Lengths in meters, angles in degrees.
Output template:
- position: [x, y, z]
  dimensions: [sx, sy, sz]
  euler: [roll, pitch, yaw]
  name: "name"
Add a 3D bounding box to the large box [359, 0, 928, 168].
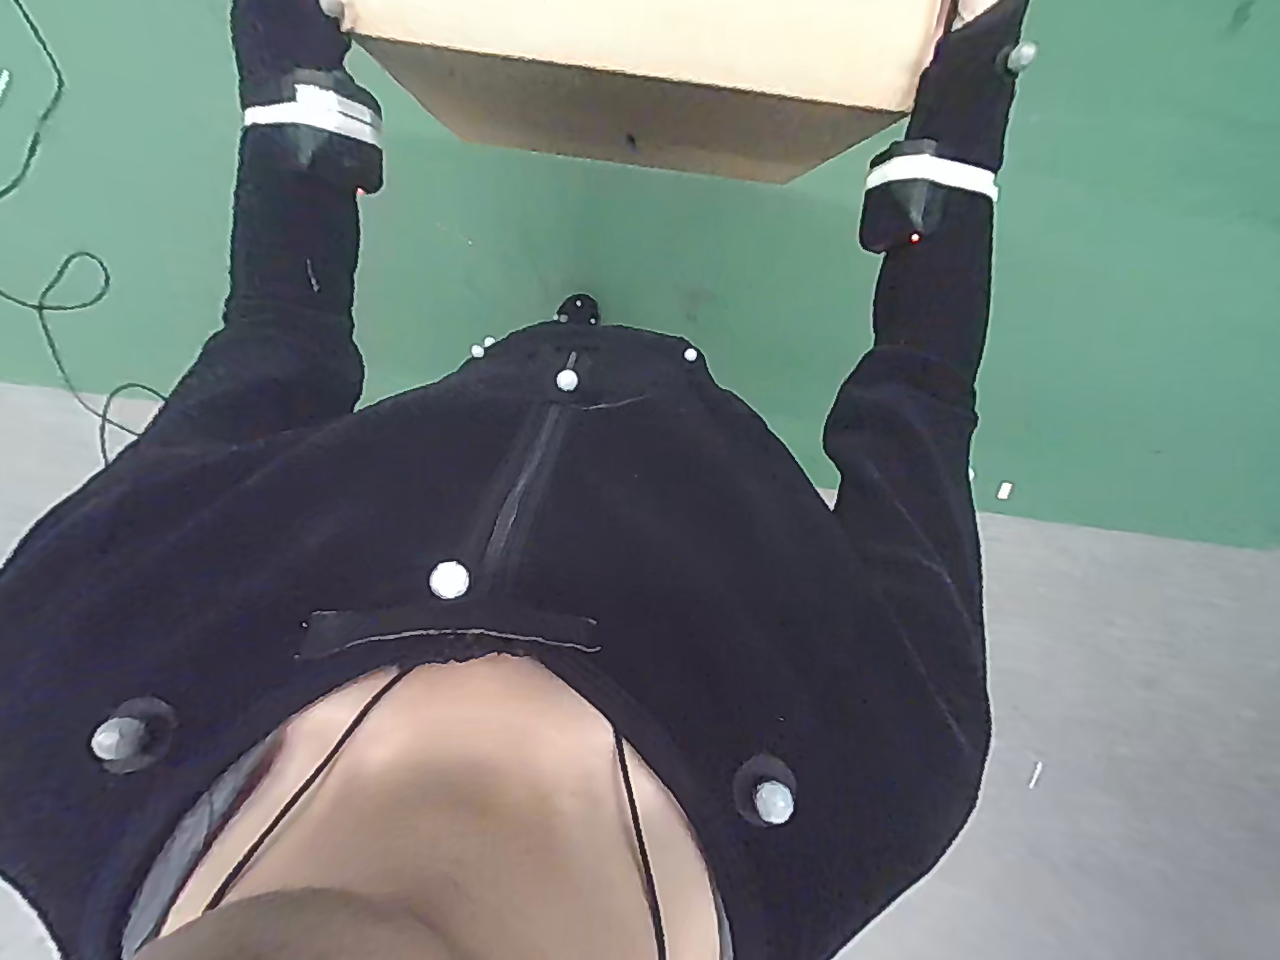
- position: [0.011, -0.489, 0.477]
  dimensions: [0.408, 0.320, 0.320]
  euler: [4, 109, -4]
  name: "large box"
